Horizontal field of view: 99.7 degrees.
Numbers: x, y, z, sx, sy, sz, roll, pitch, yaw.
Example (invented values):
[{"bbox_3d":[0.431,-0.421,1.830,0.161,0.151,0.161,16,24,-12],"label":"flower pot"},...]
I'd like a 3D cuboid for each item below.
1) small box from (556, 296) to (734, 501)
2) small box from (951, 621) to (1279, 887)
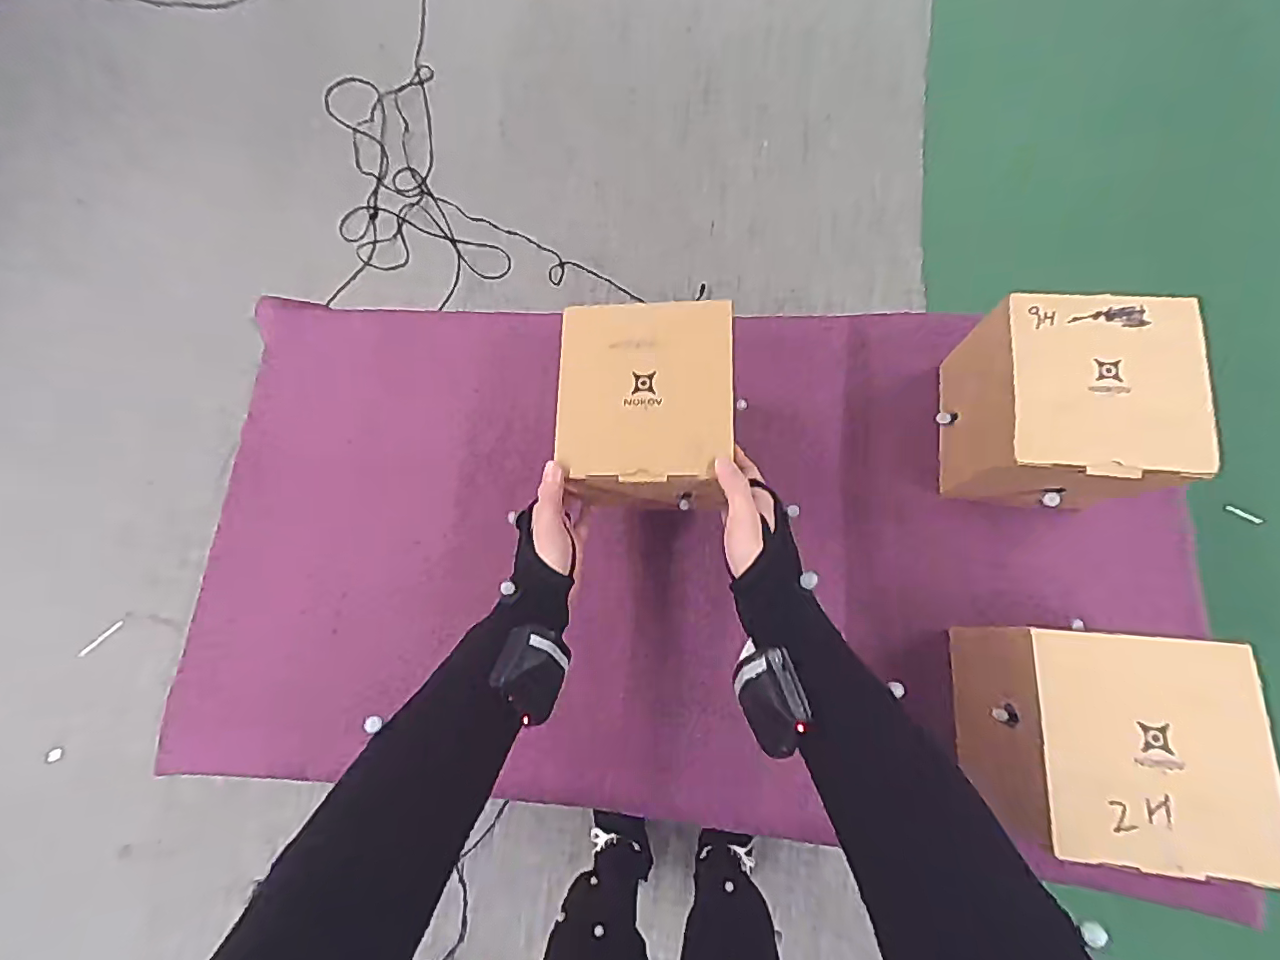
[{"bbox_3d":[0.016,-0.075,0.585,0.168,0.176,0.179,1,77,7],"label":"small box"},{"bbox_3d":[0.412,0.231,0.505,0.168,0.176,0.179,3,75,9],"label":"small box"}]
